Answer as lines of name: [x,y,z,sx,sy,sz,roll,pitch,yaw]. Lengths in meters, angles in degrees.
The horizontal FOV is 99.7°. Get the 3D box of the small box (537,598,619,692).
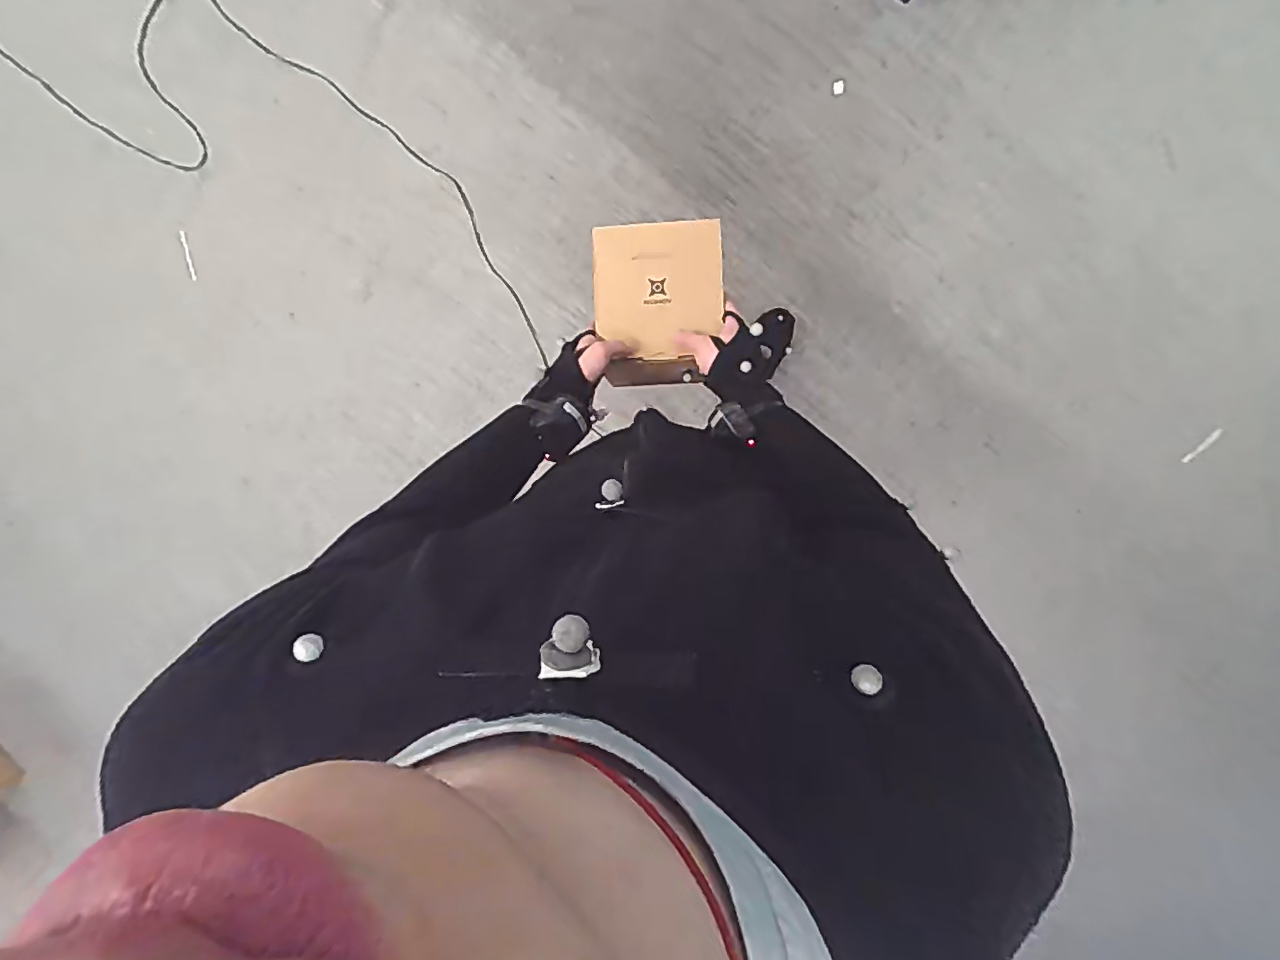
small box: [-0.178,0.486,1.624,0.168,0.176,0.179,36,104,-2]

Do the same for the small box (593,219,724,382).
small box: [0.029,-0.242,0.775,0.168,0.176,0.179,-3,88,3]
